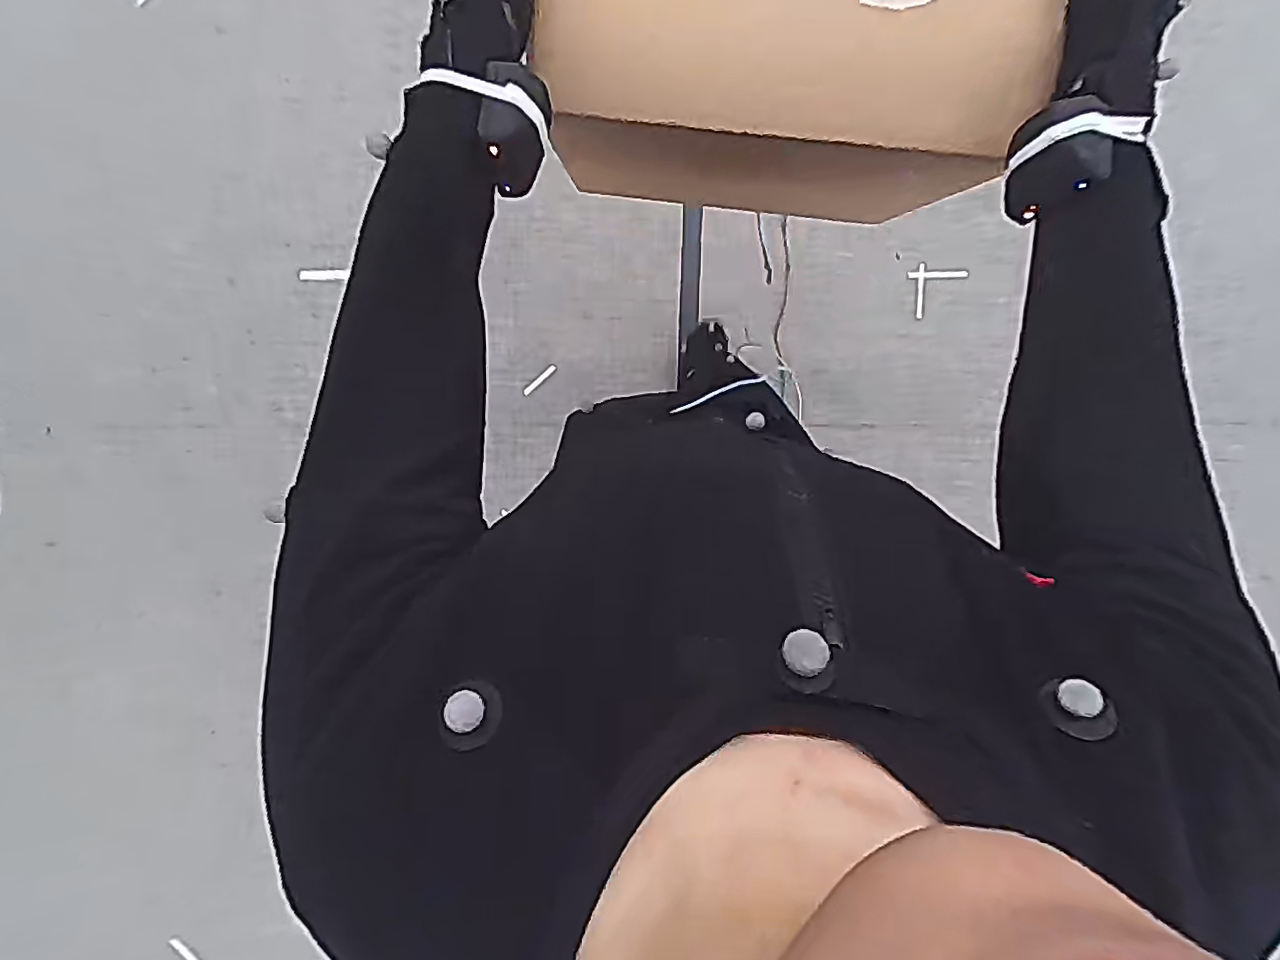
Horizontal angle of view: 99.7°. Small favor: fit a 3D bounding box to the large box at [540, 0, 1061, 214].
[{"bbox_3d":[0.128,-0.473,0.536,0.408,0.320,0.320,5,108,-1],"label":"large box"}]
